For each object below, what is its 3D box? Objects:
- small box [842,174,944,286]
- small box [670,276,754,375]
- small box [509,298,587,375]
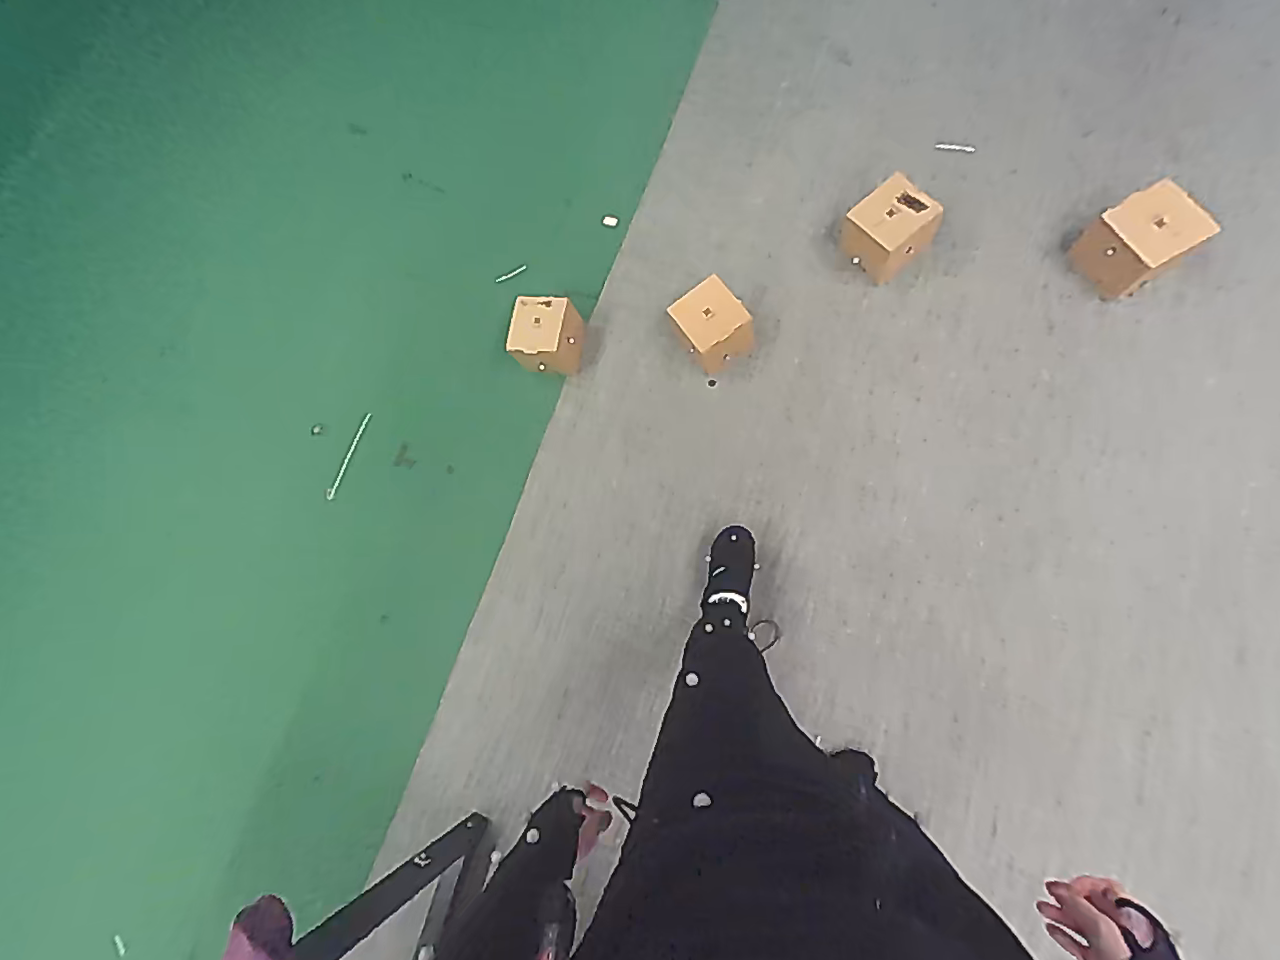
[{"bbox_3d":[0.677,-0.674,1.473,0.179,0.176,0.168,-39,71,3],"label":"small box"},{"bbox_3d":[0.207,-0.431,1.535,0.168,0.176,0.179,-36,73,4],"label":"small box"},{"bbox_3d":[-0.275,-0.433,1.652,0.168,0.176,0.179,7,79,15],"label":"small box"}]
